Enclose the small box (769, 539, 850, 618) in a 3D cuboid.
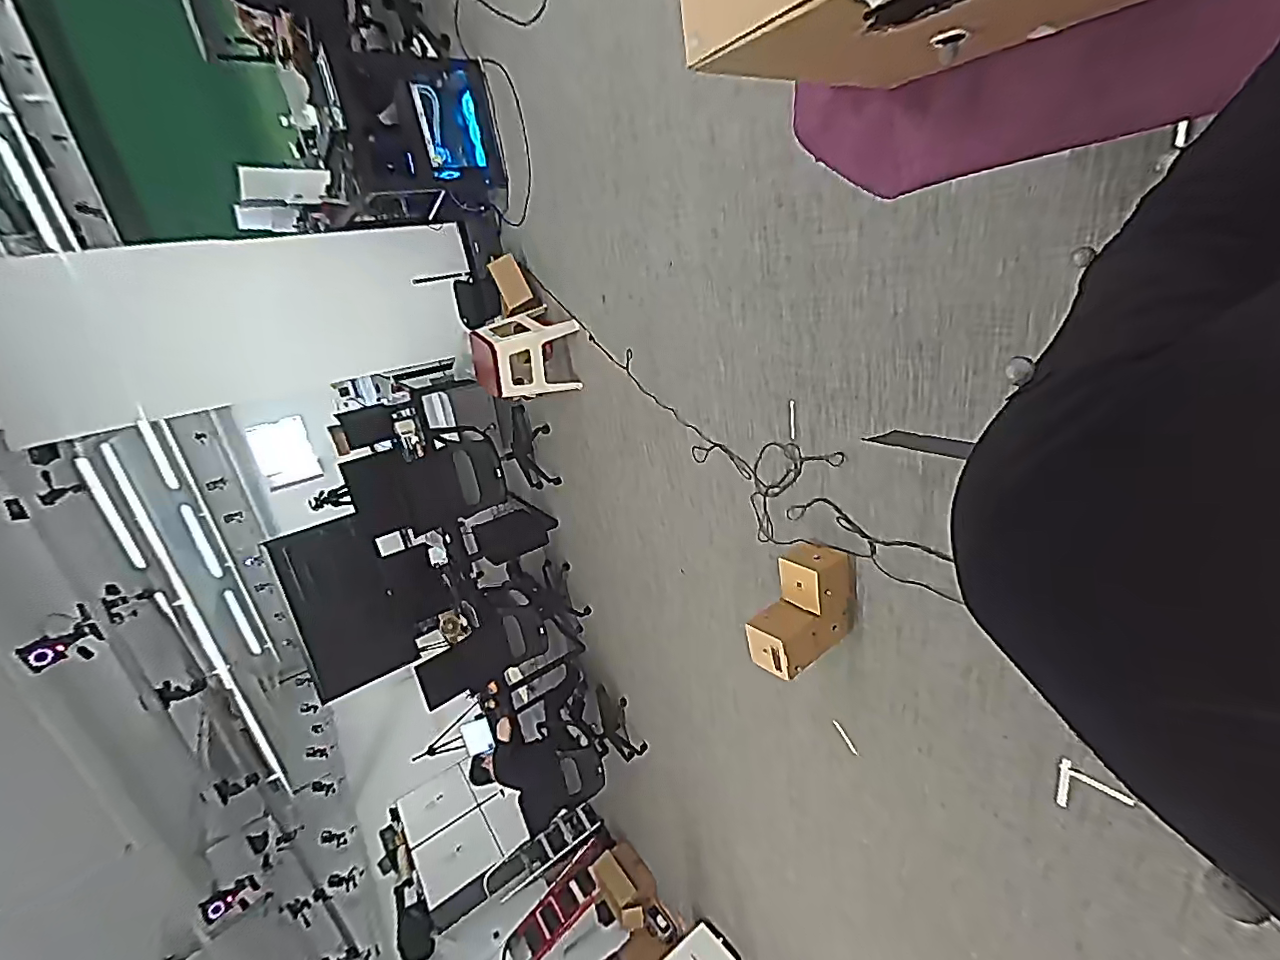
[{"bbox_3d":[0.574,0.336,1.843,0.179,0.176,0.168,38,126,27],"label":"small box"}]
